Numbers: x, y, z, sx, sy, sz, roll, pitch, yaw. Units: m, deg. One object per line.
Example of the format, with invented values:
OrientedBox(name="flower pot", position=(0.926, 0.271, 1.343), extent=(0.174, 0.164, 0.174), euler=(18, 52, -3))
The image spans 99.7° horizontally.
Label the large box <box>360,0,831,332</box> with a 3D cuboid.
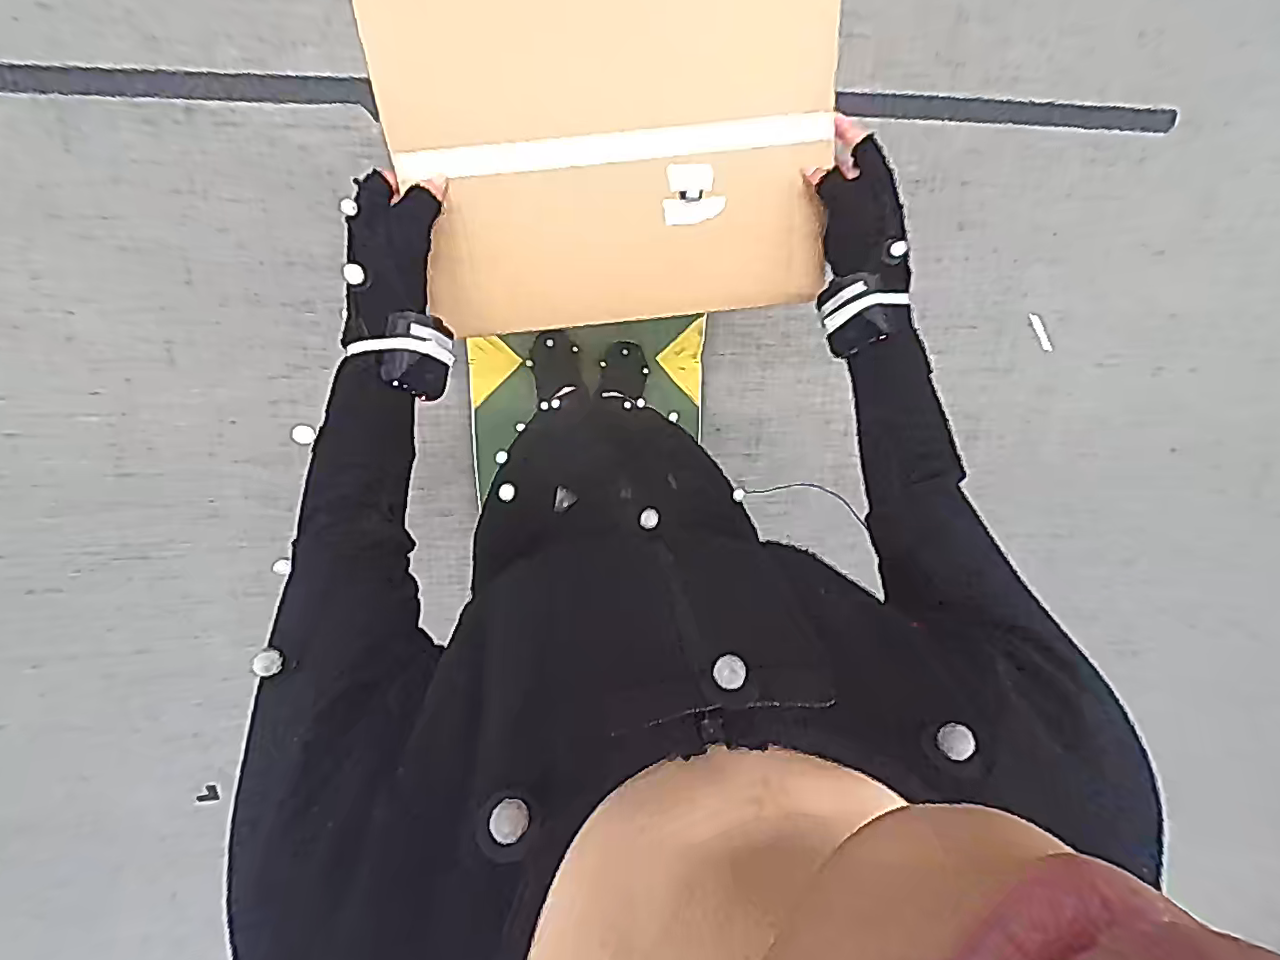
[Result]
OrientedBox(name="large box", position=(-0.036, -0.379, 0.634), extent=(0.408, 0.320, 0.320), euler=(-7, 117, -3))
